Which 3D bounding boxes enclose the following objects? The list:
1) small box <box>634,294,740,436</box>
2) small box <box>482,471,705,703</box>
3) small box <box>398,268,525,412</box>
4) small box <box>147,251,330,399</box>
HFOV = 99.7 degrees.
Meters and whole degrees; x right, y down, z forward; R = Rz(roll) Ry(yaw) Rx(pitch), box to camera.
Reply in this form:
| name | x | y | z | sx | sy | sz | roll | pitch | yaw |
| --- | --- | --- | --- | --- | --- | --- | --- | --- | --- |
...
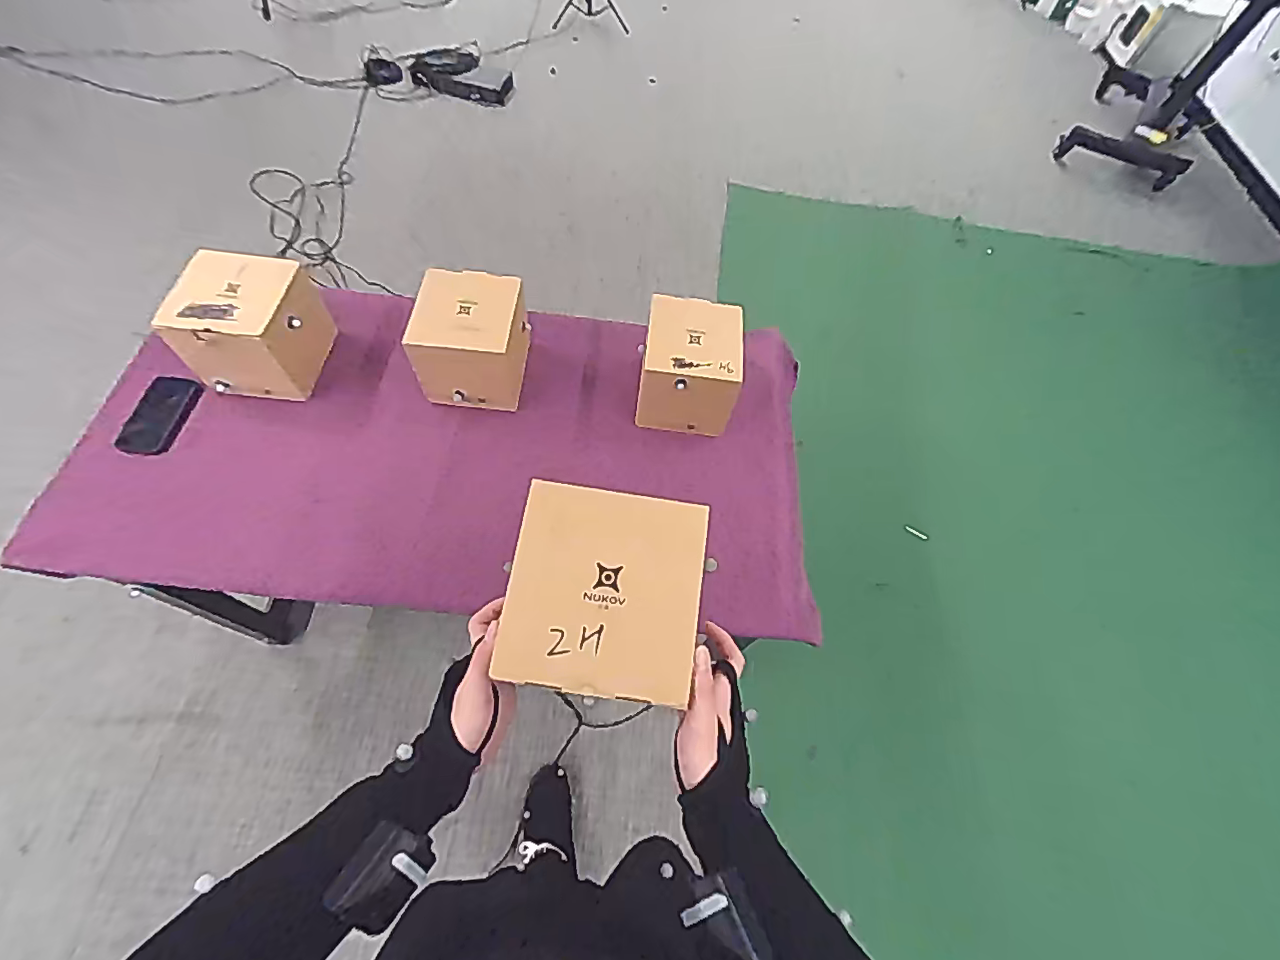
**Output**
| name | x | y | z | sx | sy | sz | roll | pitch | yaw |
| --- | --- | --- | --- | --- | --- | --- | --- | --- | --- |
| small box | 0.081 | -0.205 | 0.986 | 0.168 | 0.176 | 0.179 | 7 | 60 | -2 |
| small box | -0.038 | 0.111 | 0.532 | 0.168 | 0.176 | 0.179 | 9 | 70 | 1 |
| small box | -0.305 | -0.246 | 0.967 | 0.168 | 0.176 | 0.179 | 5 | 62 | -3 |
| small box | -0.669 | -0.260 | 0.931 | 0.168 | 0.176 | 0.179 | 6 | 60 | -4 |
